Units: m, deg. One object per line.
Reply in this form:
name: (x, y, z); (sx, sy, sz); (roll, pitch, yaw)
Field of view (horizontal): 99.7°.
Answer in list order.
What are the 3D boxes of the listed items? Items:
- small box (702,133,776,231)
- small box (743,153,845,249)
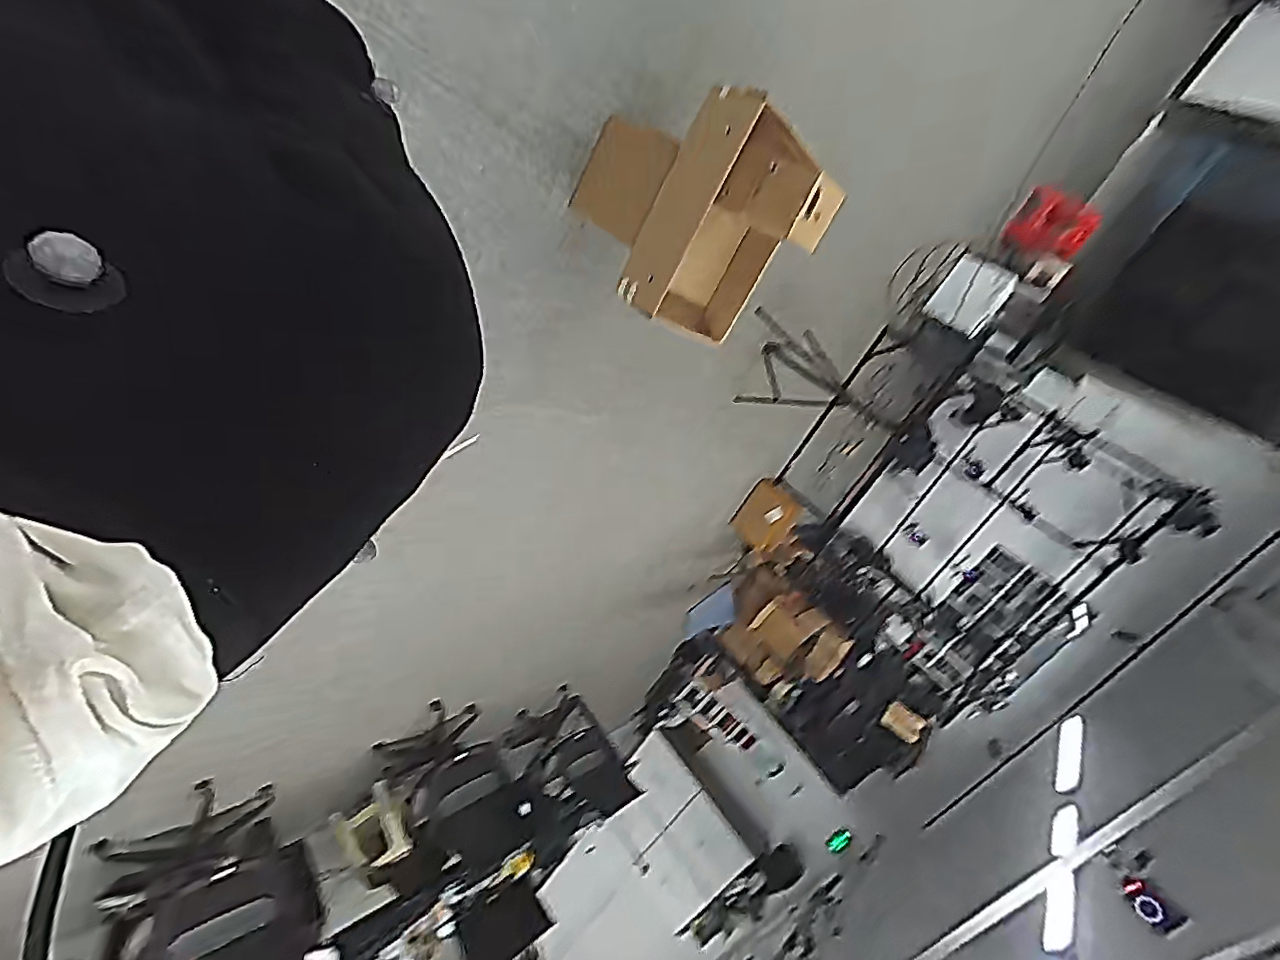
small box: (0.303, -0.848, 1.541); (0.168, 0.176, 0.179); (-5, 129, -49)
small box: (0.412, -0.755, 1.460); (0.179, 0.176, 0.168); (-5, 130, -50)
